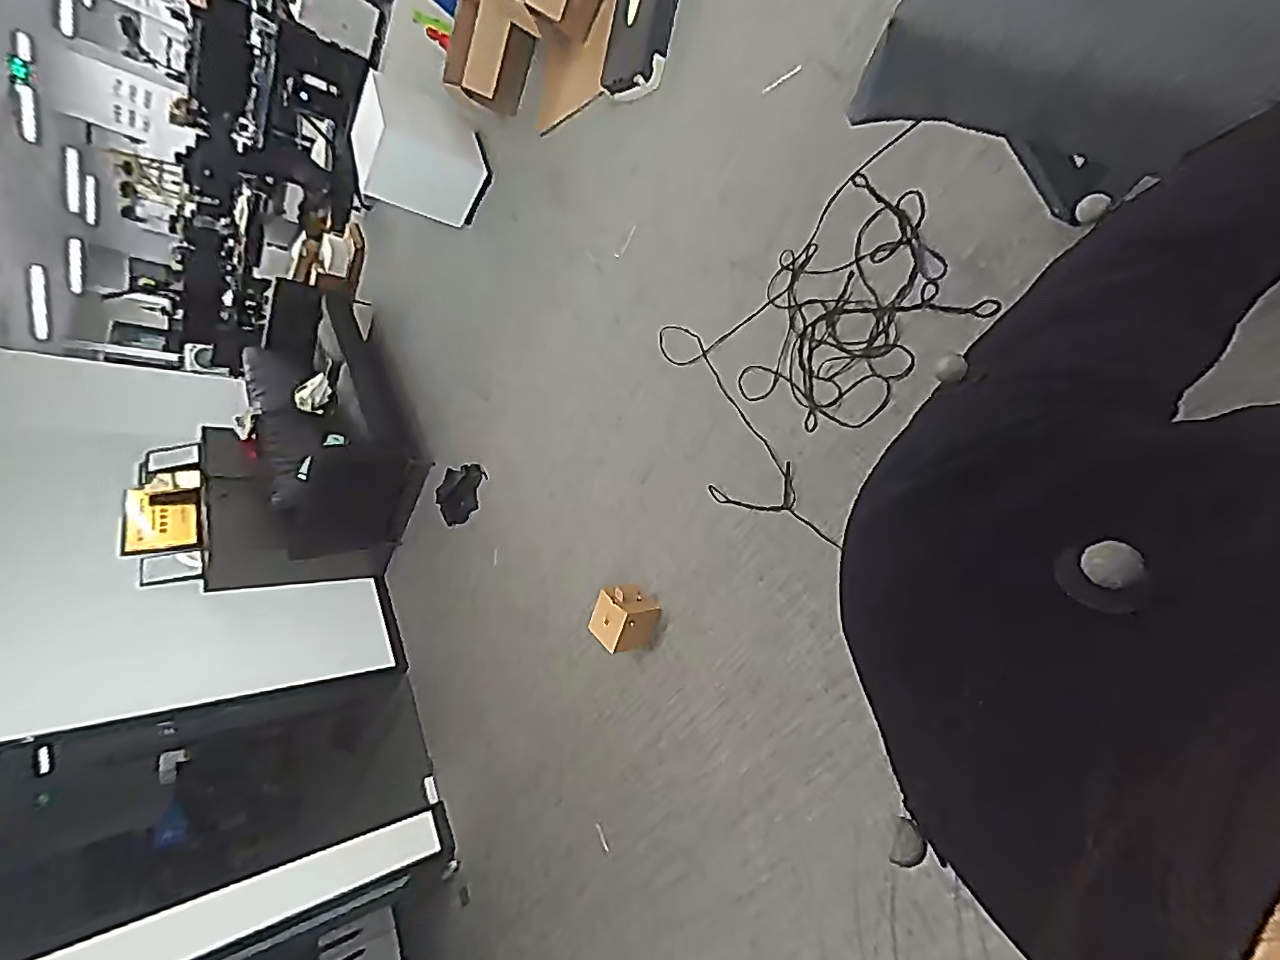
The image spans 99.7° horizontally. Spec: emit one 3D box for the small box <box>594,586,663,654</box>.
[{"bbox_3d":[-0.041,0.511,2.001,0.168,0.176,0.179,34,112,43],"label":"small box"}]
